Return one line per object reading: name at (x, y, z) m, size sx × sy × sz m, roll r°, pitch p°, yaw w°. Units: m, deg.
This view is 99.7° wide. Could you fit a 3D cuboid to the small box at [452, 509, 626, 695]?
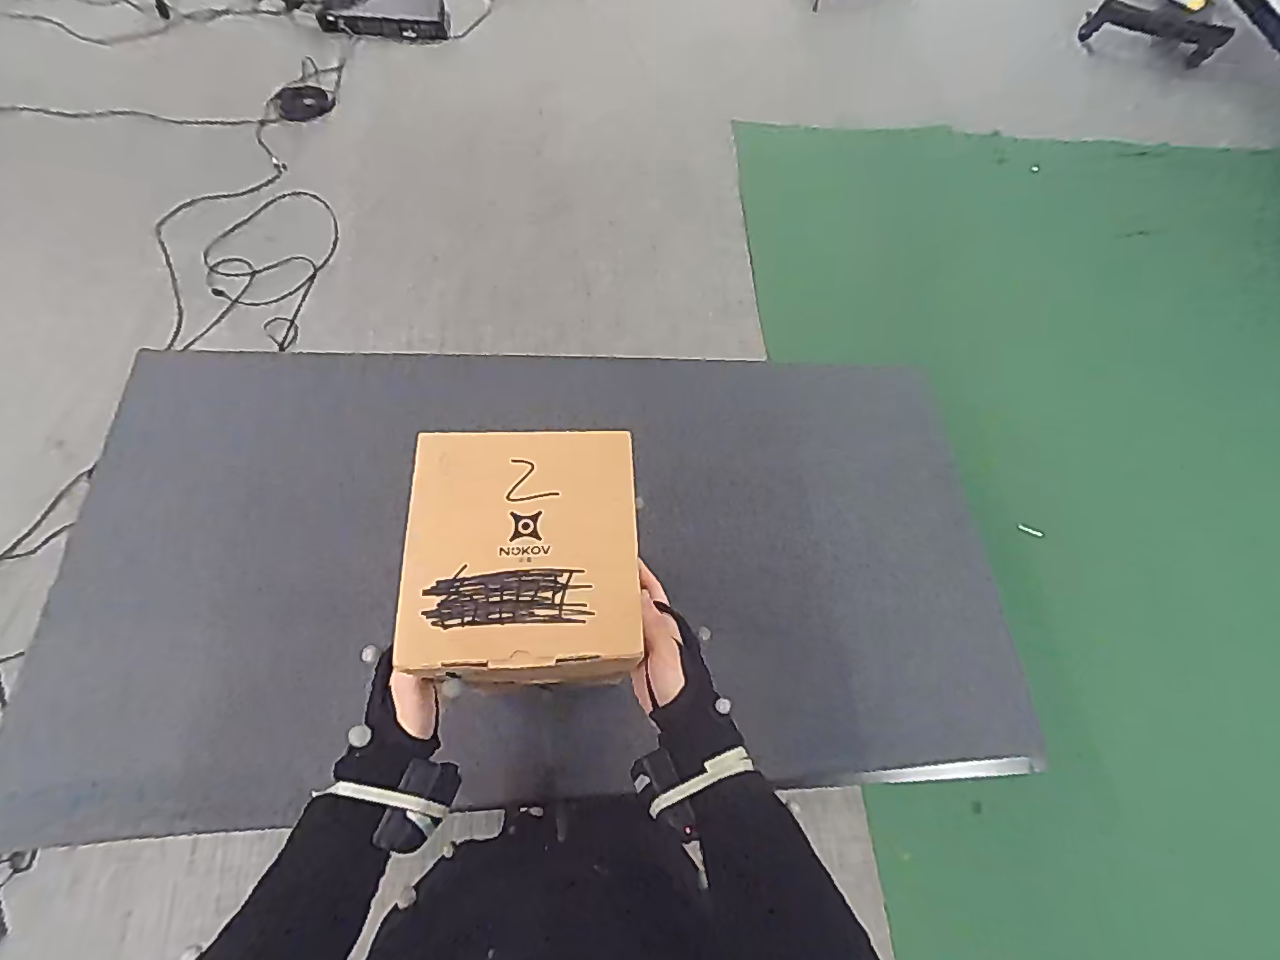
small box at (-0.107, 0.144, 0.616) m, size 0.168 × 0.176 × 0.179 m, roll -2°, pitch 67°, yaw -6°
